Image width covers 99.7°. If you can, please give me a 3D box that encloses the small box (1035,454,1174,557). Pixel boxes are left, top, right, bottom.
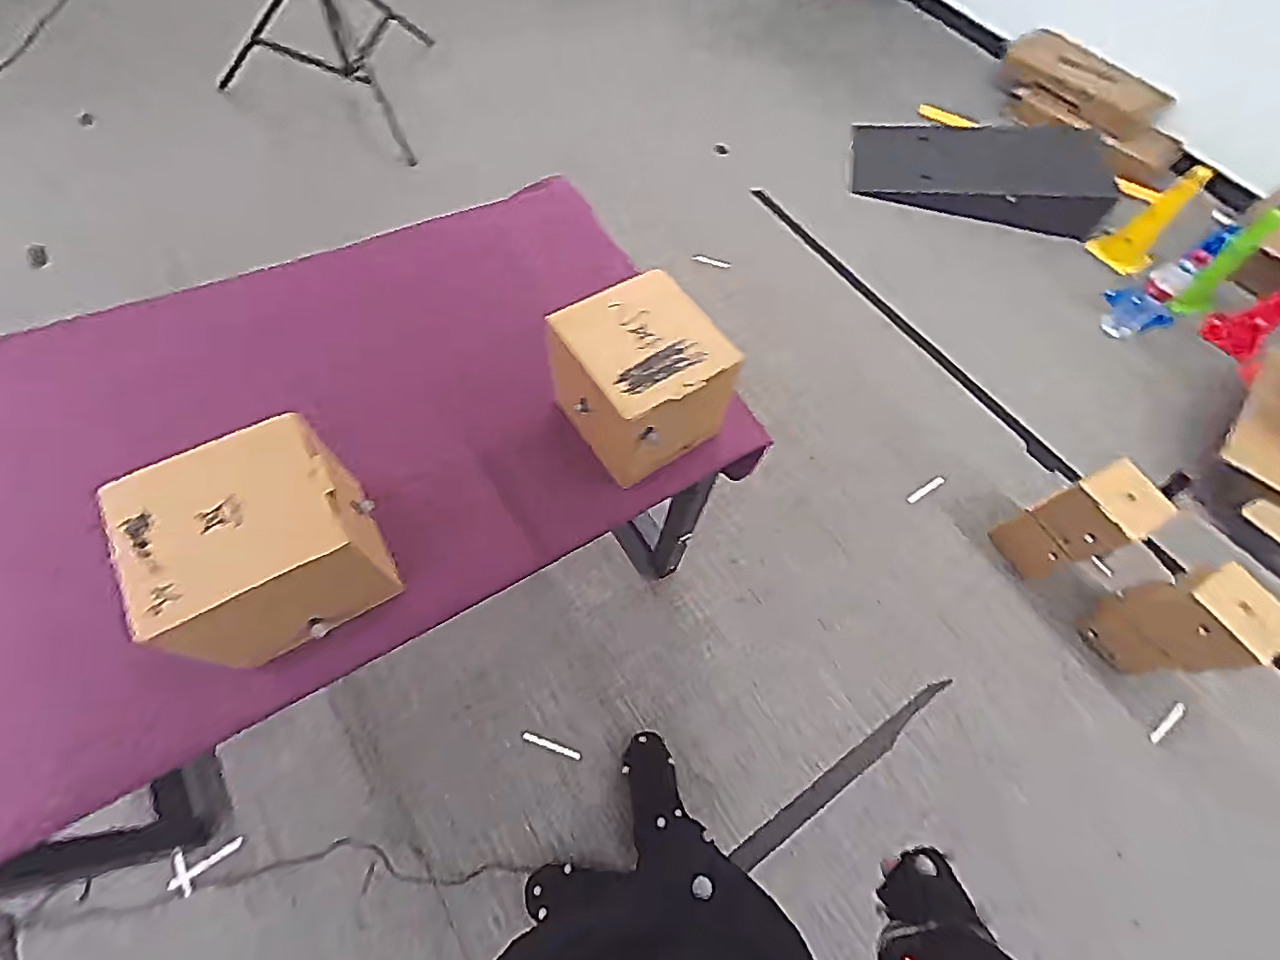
[{"bbox_3d":[1.144,0.069,1.352,0.179,0.176,0.168,-25,70,-18],"label":"small box"}]

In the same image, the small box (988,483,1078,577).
[{"bbox_3d":[1.120,0.143,1.495,0.168,0.176,0.179,-24,68,-17],"label":"small box"}]

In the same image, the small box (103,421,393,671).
[{"bbox_3d":[-0.379,0.074,0.559,0.179,0.176,0.168,-28,69,-18],"label":"small box"}]

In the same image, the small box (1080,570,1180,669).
[{"bbox_3d":[1.301,0.367,1.398,0.179,0.176,0.168,-30,70,-19],"label":"small box"}]

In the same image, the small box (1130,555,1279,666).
[{"bbox_3d":[1.304,0.305,1.245,0.168,0.176,0.179,-28,70,-17],"label":"small box"}]
